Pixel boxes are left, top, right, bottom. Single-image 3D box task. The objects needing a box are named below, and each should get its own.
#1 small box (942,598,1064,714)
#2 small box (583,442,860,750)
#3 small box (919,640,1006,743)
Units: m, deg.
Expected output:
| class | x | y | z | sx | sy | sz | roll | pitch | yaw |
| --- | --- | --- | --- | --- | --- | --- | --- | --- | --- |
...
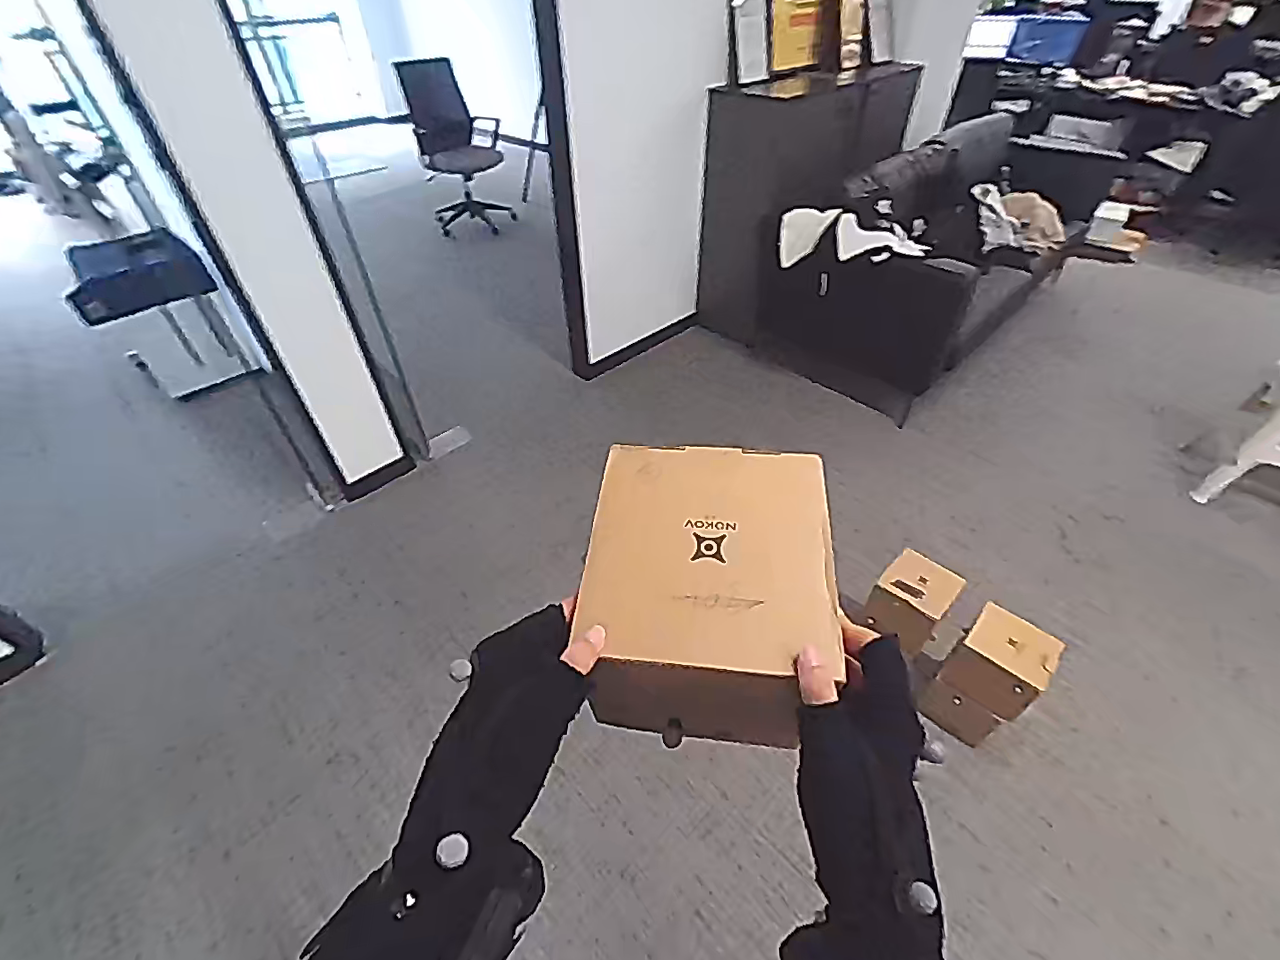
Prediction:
| class | x | y | z | sx | sy | sz | roll | pitch | yaw |
| --- | --- | --- | --- | --- | --- | --- | --- | --- | --- |
| small box | 0.876 | 0.432 | 1.319 | 0.179 | 0.176 | 0.168 | 33 | 53 | 30 |
| small box | 0.061 | 0.093 | 0.429 | 0.168 | 0.176 | 0.179 | 4 | 52 | 8 |
| small box | 0.872 | 0.551 | 1.432 | 0.168 | 0.176 | 0.179 | 33 | 53 | 31 |
